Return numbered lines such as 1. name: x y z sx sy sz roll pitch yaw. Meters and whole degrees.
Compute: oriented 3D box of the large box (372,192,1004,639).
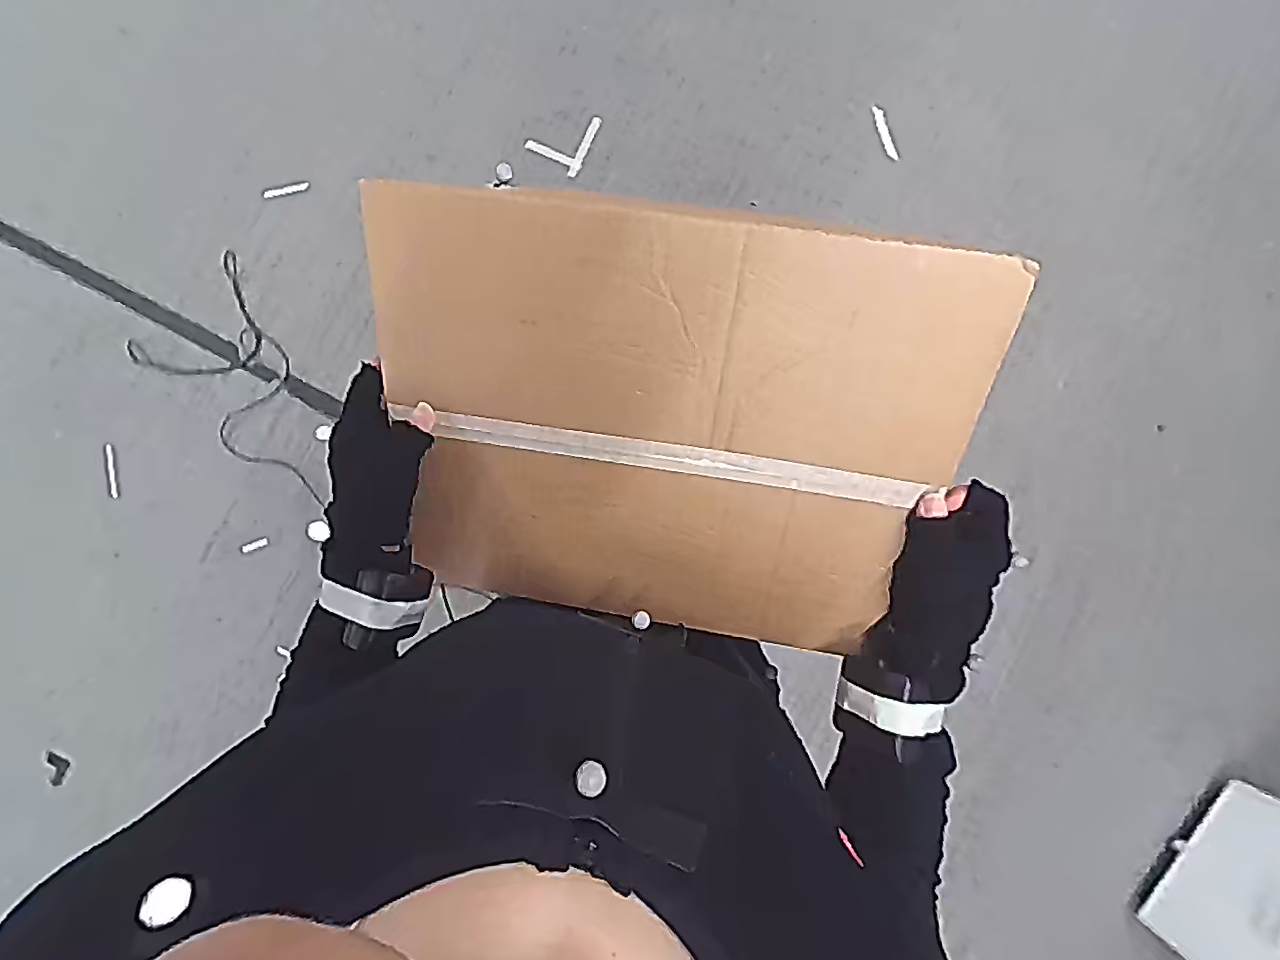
1. large box: 0.027 -0.092 0.534 0.408 0.320 0.320 9 119 5
